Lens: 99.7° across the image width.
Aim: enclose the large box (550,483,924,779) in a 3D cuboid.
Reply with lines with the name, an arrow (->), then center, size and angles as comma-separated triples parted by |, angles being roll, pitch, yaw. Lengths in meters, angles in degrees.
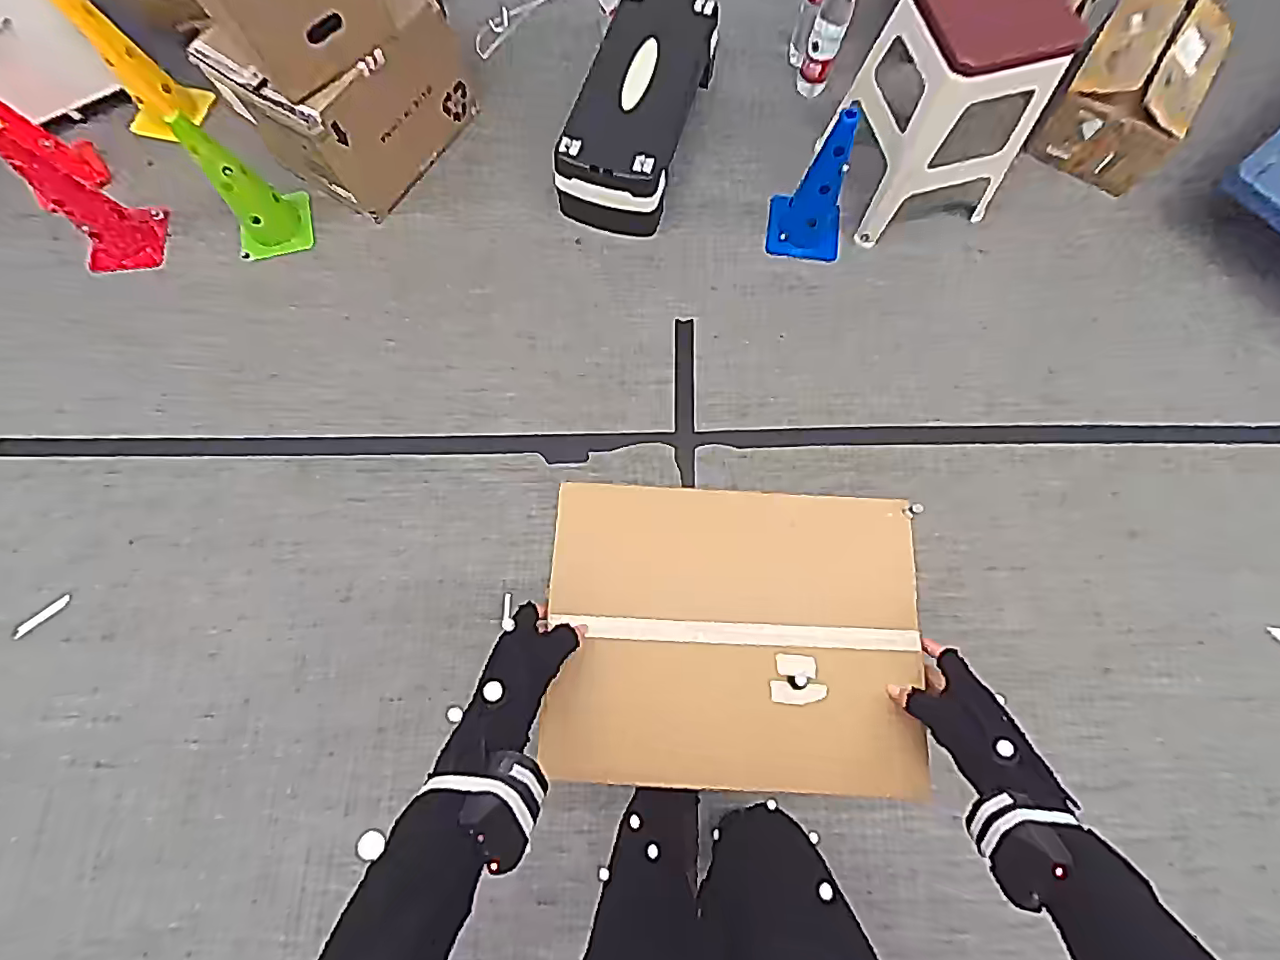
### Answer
large box -> 0.101, 0.194, 0.743 | 0.408, 0.320, 0.320 | 3, 77, -1
